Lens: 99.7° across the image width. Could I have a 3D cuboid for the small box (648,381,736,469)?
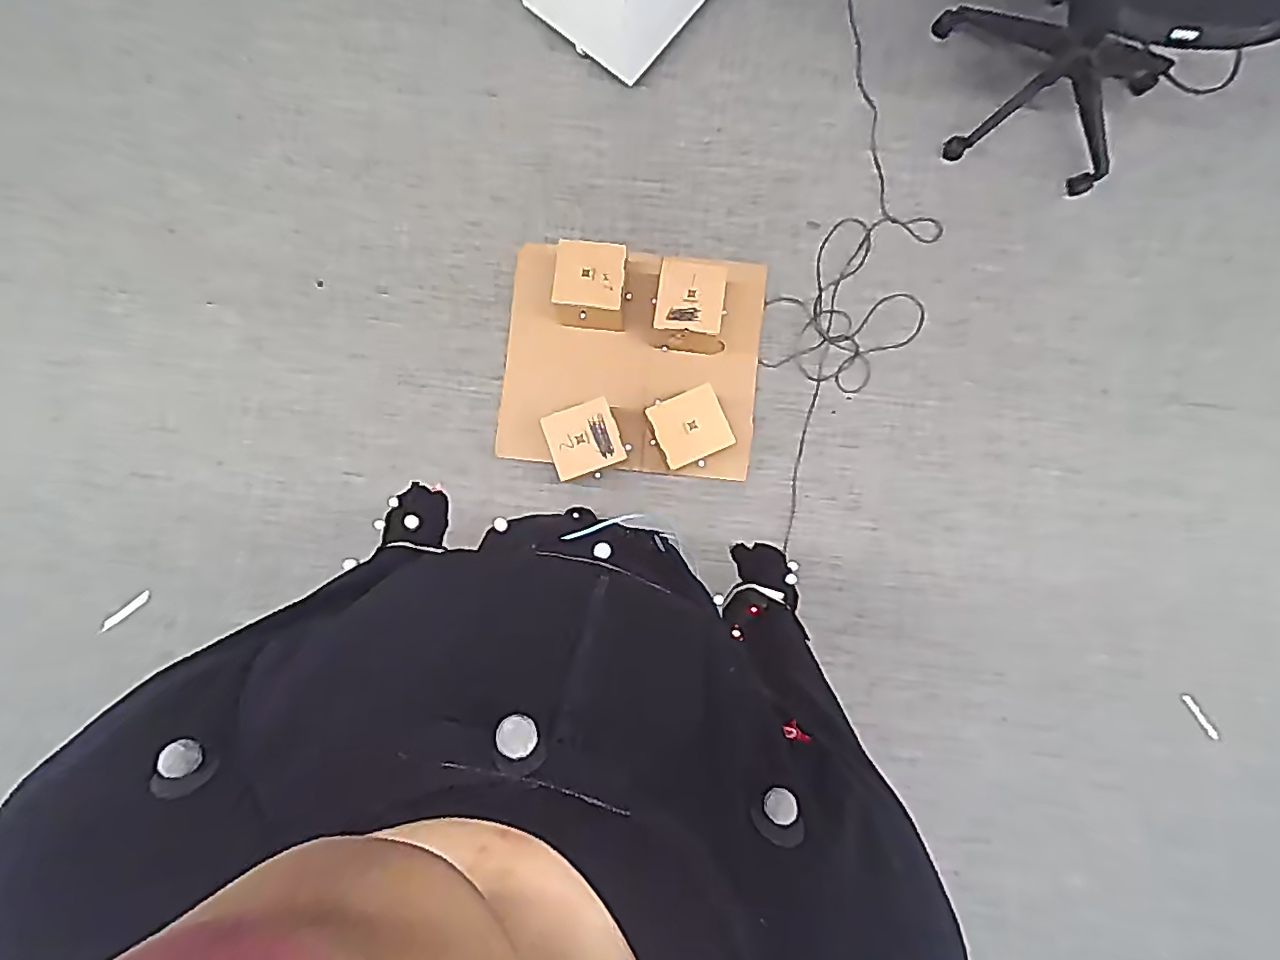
[{"bbox_3d":[0.129,-0.137,1.410,0.179,0.176,0.168,-24,86,1],"label":"small box"}]
